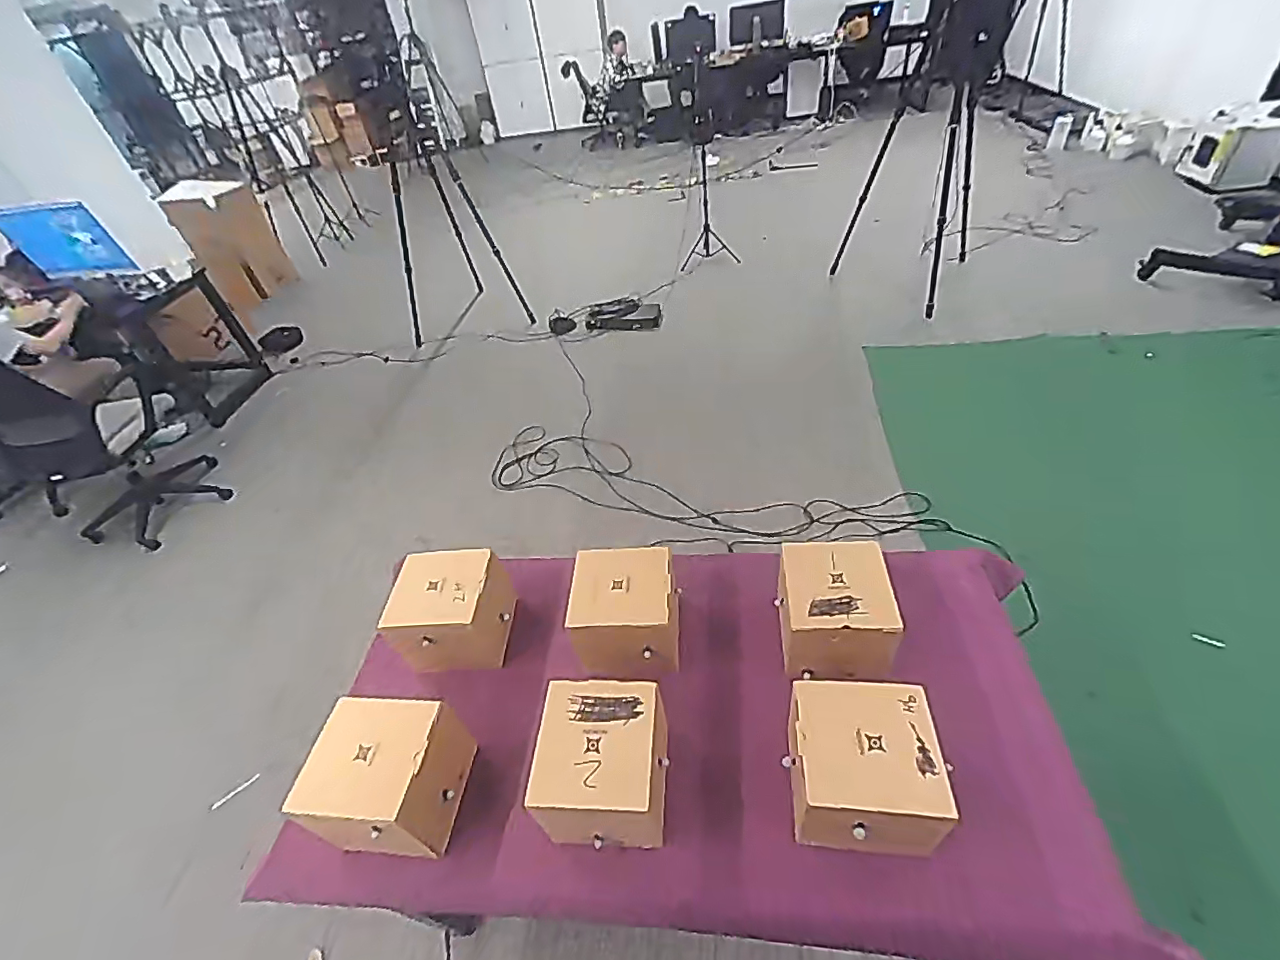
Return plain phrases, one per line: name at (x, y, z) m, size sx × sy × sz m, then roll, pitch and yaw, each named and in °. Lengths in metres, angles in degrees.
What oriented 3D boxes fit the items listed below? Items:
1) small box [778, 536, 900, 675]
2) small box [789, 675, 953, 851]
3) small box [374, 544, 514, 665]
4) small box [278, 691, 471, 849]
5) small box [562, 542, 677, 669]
small box at (0.328, 0.216, 0.926) m, size 0.168 × 0.176 × 0.179 m, roll -2°, pitch 43°, yaw 10°
small box at (0.300, 0.390, 0.746) m, size 0.179 × 0.176 × 0.168 m, roll -1°, pitch 43°, yaw 11°
small box at (-0.361, 0.241, 1.034) m, size 0.179 × 0.176 × 0.168 m, roll -4°, pitch 44°, yaw 7°
small box at (-0.388, 0.443, 0.827) m, size 0.179 × 0.176 × 0.168 m, roll -1°, pitch 42°, yaw 9°
small box at (-0.027, 0.230, 0.984) m, size 0.179 × 0.176 × 0.168 m, roll -4°, pitch 43°, yaw 9°
